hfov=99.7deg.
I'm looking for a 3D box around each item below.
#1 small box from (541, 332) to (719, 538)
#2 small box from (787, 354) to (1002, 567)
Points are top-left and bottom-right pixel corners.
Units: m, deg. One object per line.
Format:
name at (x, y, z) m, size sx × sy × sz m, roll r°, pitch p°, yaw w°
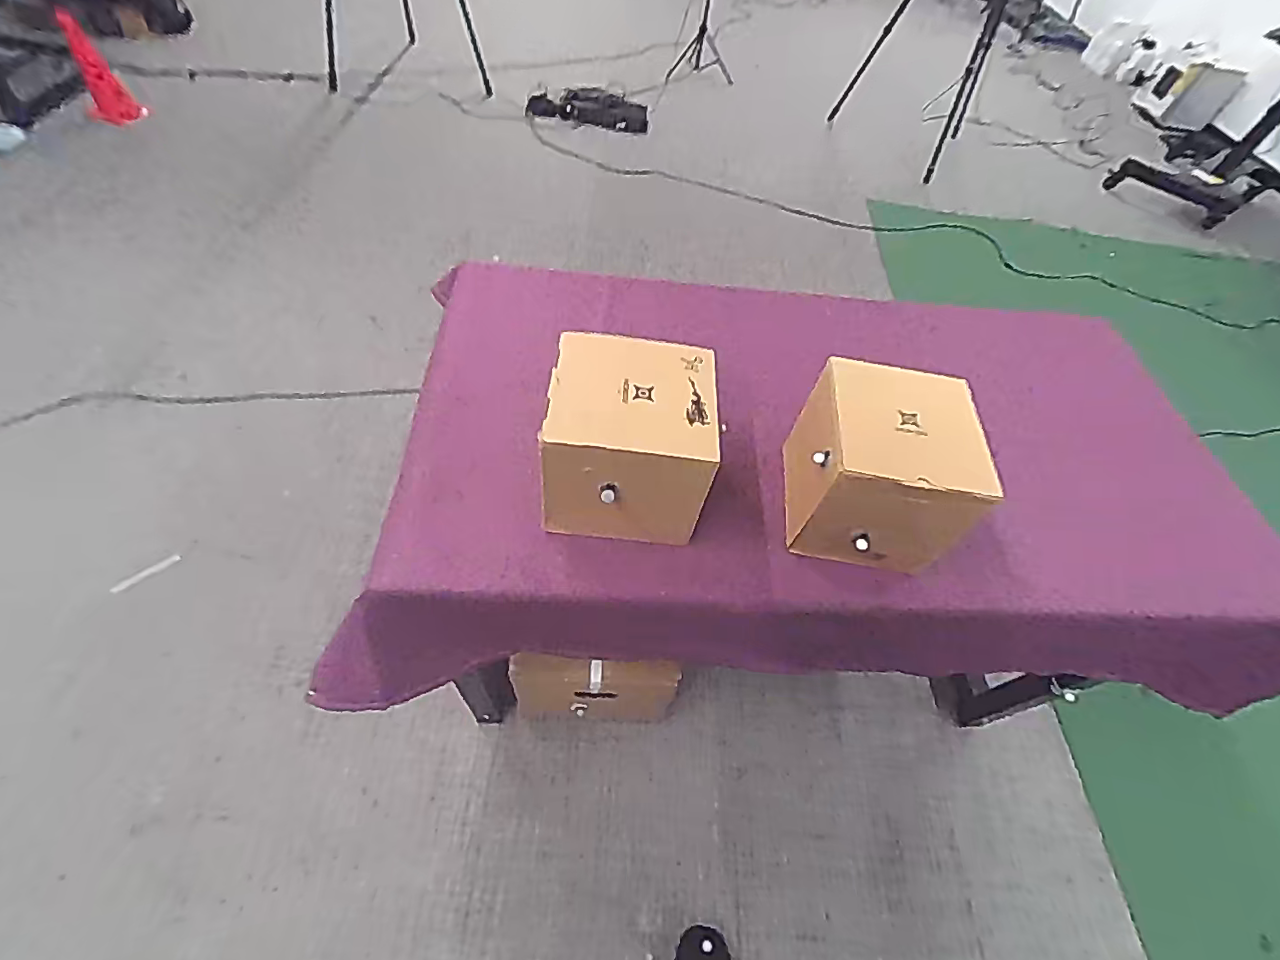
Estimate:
small box at (-0.012, -0.046, 0.628) m, size 0.179 × 0.176 × 0.168 m, roll 5°, pitch 55°, yaw -3°
small box at (0.284, -0.019, 0.652) m, size 0.168 × 0.176 × 0.179 m, roll 10°, pitch 55°, yaw -1°
